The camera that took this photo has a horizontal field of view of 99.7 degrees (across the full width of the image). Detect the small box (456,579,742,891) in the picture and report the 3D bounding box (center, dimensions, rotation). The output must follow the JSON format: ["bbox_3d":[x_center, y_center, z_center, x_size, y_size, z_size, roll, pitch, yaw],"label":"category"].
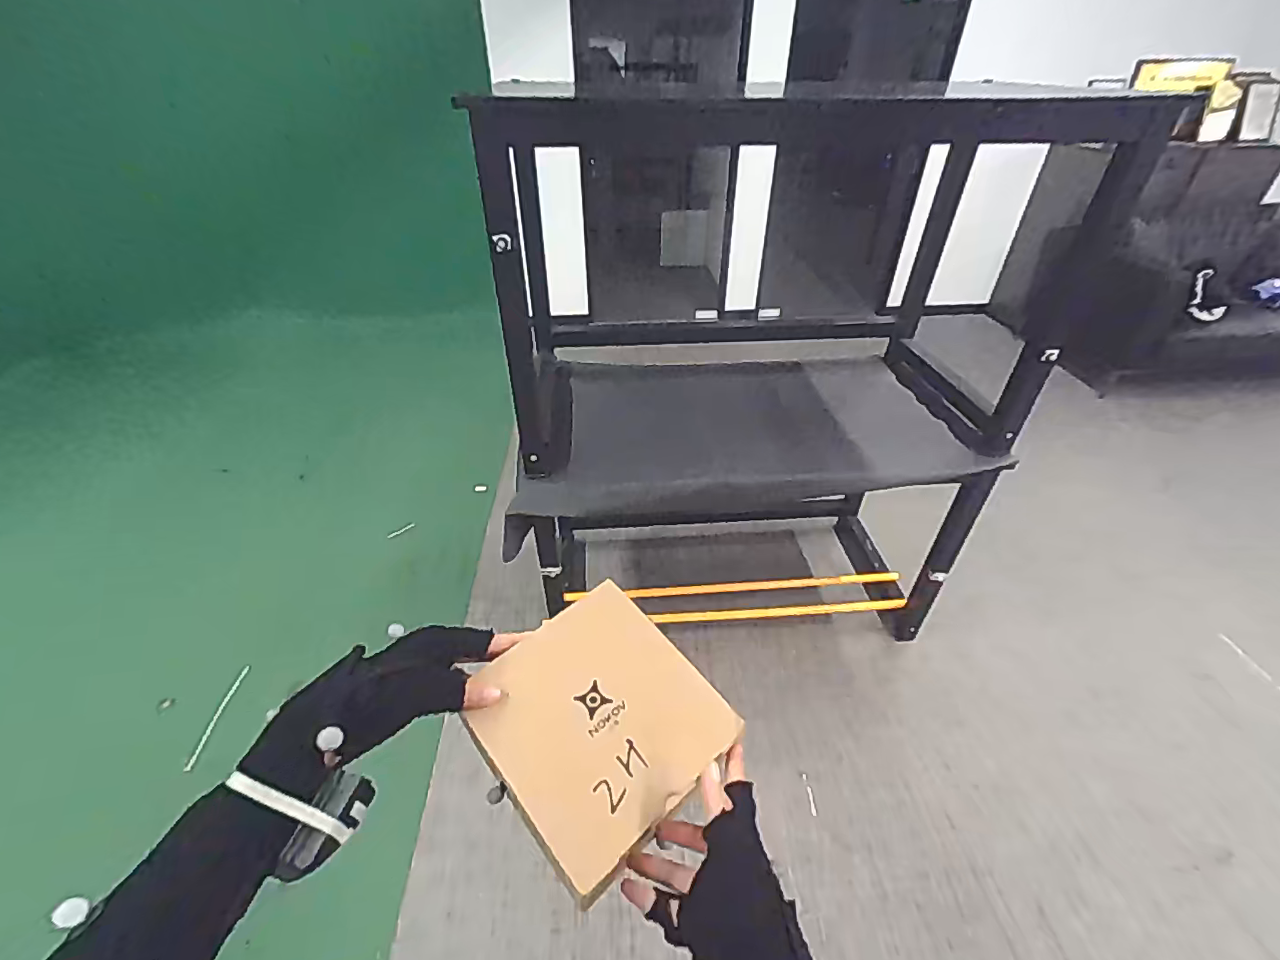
[{"bbox_3d":[-0.040,0.231,0.492,0.168,0.176,0.179,-32,60,-28],"label":"small box"}]
